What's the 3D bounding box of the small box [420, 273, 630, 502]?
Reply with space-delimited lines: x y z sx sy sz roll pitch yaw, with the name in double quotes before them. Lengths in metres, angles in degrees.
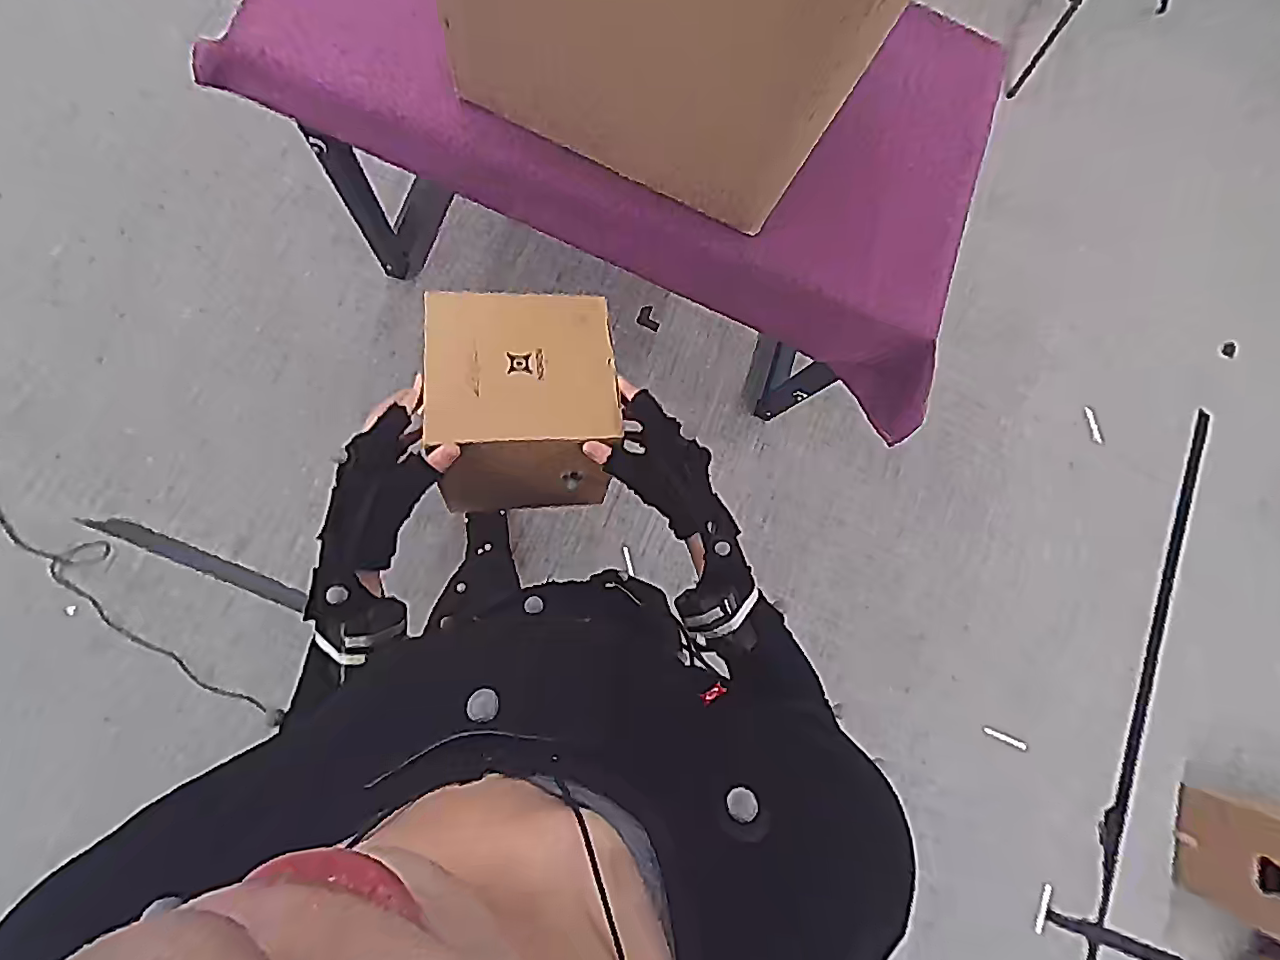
"small box" -0.117 -0.085 0.552 0.179 0.176 0.168 -3 67 -13
